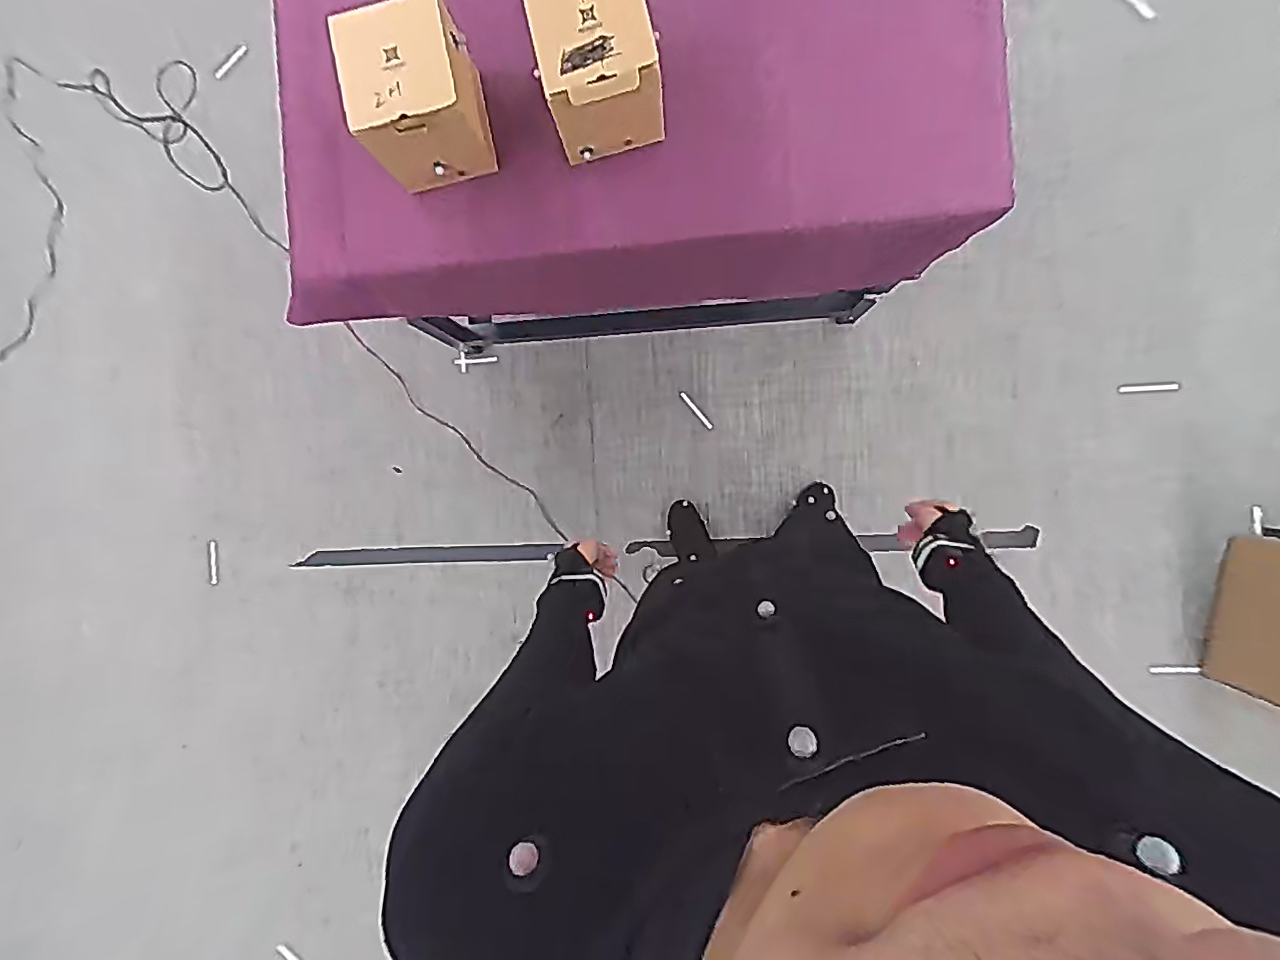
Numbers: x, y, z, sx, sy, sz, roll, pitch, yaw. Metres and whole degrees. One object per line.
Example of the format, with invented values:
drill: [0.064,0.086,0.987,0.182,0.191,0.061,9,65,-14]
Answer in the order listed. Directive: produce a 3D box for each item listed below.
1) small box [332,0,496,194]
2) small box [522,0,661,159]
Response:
small box: [-0.345,-0.593,0.855,0.168,0.176,0.179,-11,90,5]
small box: [-0.066,-0.630,0.833,0.168,0.176,0.179,-13,88,4]
